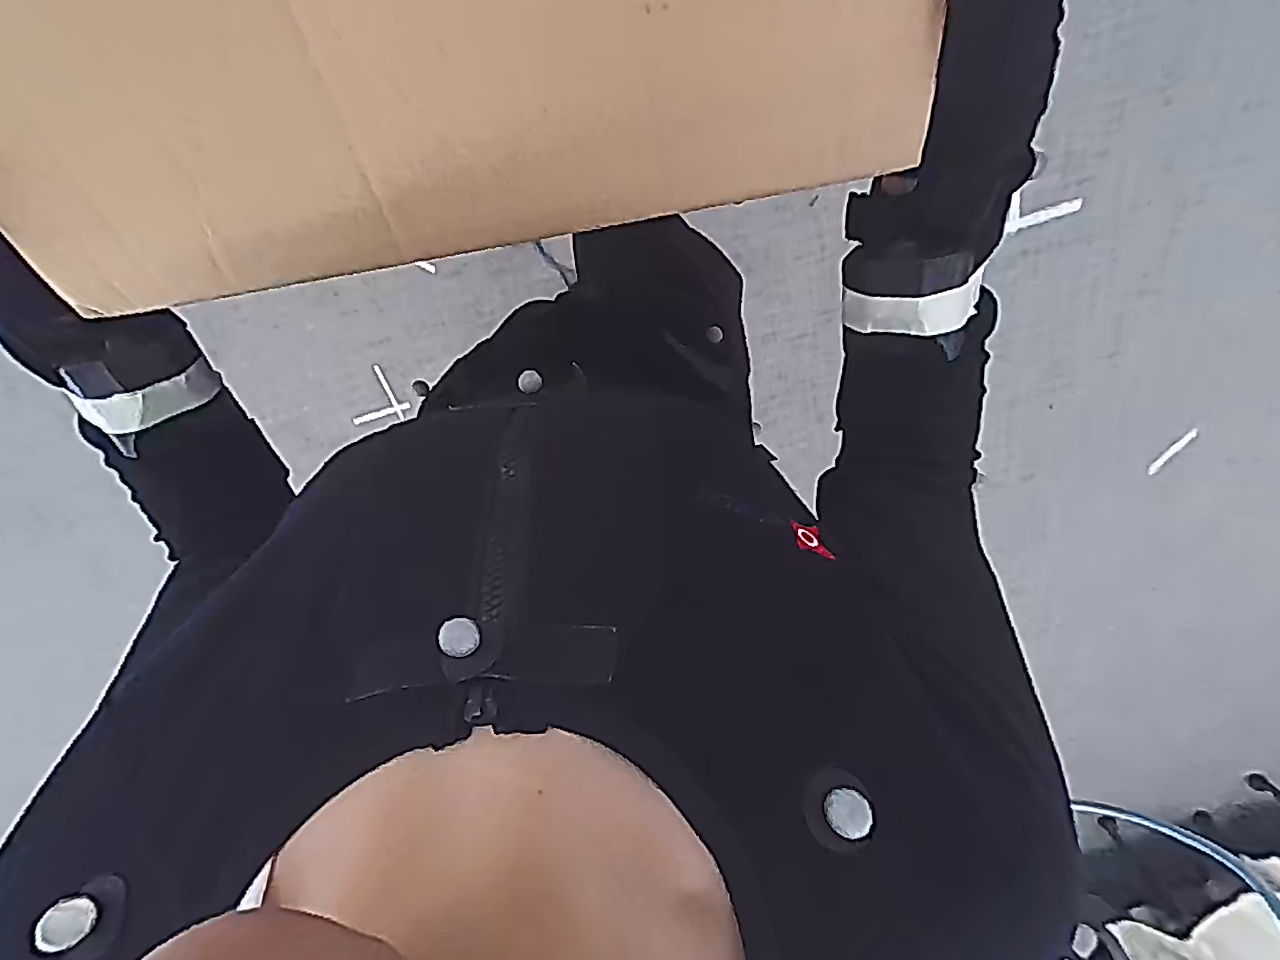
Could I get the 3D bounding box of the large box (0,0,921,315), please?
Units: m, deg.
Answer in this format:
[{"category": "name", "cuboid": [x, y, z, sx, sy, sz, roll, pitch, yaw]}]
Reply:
[{"category": "large box", "cuboid": [-0.106, -0.327, 0.274, 0.408, 0.320, 0.320, -9, 131, 4]}]
